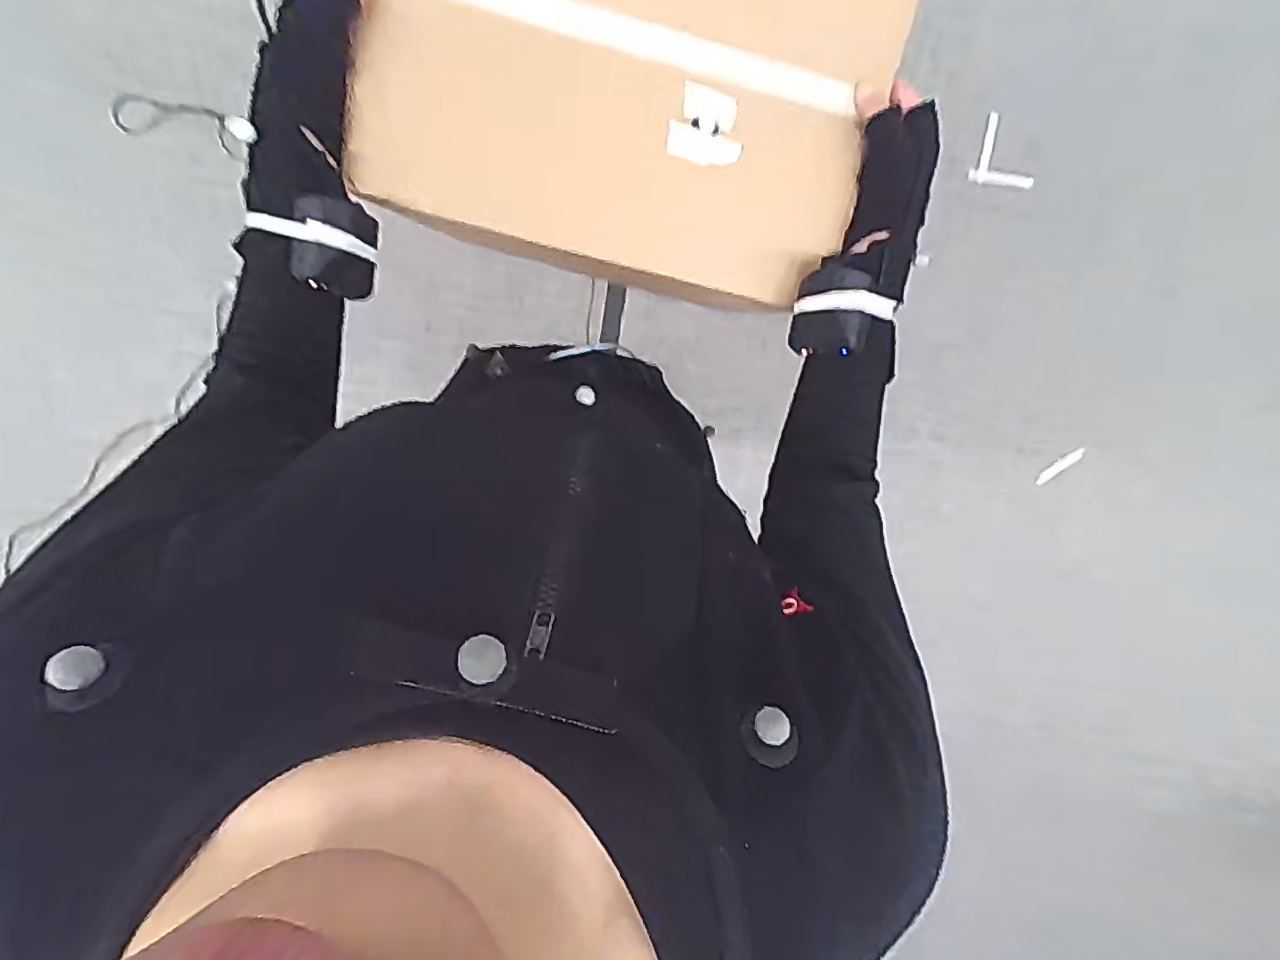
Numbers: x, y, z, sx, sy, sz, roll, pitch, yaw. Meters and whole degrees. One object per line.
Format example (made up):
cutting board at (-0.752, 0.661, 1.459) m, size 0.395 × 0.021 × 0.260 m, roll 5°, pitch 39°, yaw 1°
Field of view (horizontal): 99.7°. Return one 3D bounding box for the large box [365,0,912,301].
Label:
large box at (-0.009, -0.386, 0.558) m, size 0.408 × 0.320 × 0.320 m, roll 11°, pitch 107°, yaw -8°
